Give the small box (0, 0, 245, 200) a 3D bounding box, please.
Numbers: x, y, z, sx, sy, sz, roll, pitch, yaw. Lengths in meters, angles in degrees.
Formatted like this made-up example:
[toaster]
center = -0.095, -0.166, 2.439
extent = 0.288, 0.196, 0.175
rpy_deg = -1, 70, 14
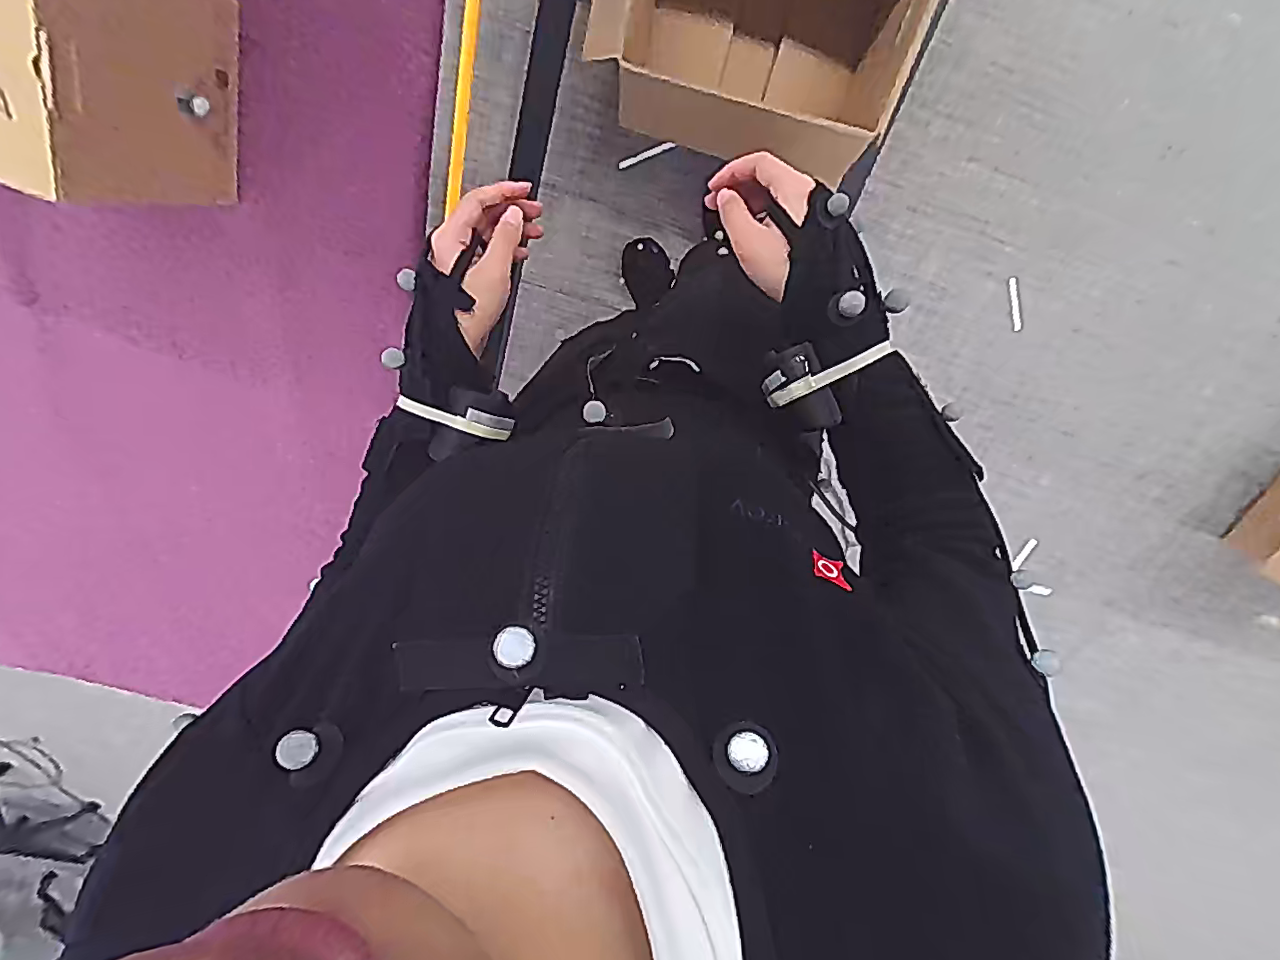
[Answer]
[small box]
center = -0.453, -0.329, 0.414
extent = 0.179, 0.176, 0.168
rpy_deg = 21, 117, -5
